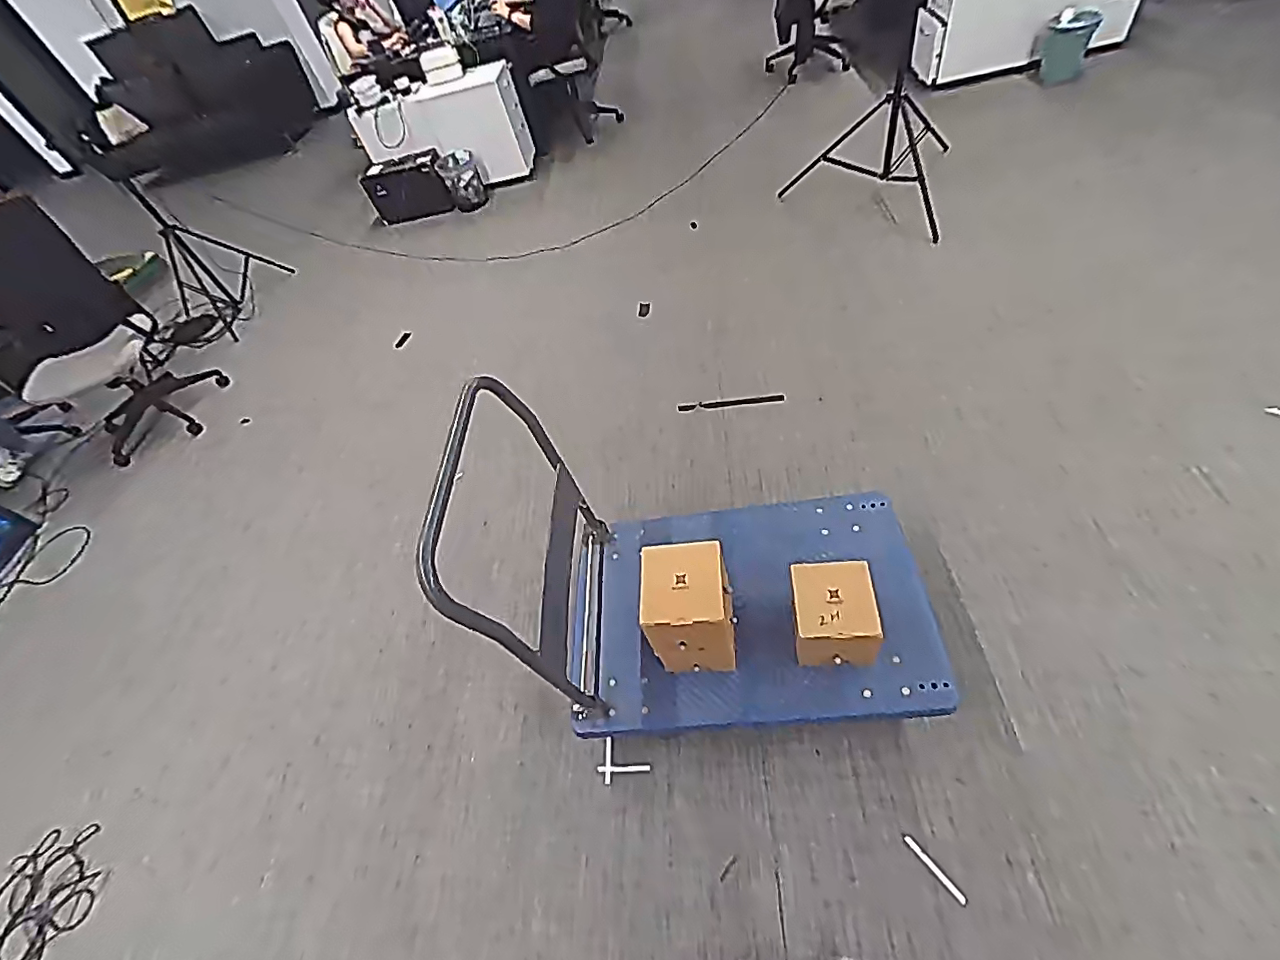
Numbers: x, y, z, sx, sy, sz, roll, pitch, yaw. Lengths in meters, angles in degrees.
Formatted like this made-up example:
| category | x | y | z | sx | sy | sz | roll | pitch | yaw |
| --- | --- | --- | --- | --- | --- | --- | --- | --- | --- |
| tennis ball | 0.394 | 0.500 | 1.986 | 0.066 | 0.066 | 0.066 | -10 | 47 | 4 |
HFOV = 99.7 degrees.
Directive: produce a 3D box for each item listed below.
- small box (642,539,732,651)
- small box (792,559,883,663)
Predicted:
| category | x | y | z | sx | sy | sz | roll | pitch | yaw |
| --- | --- | --- | --- | --- | --- | --- | --- | --- | --- |
| small box | 0.102 | 0.246 | 1.141 | 0.168 | 0.176 | 0.179 | -6 | 53 | 10 |
| small box | 0.437 | 0.297 | 1.222 | 0.168 | 0.176 | 0.179 | -5 | 52 | 12 |
